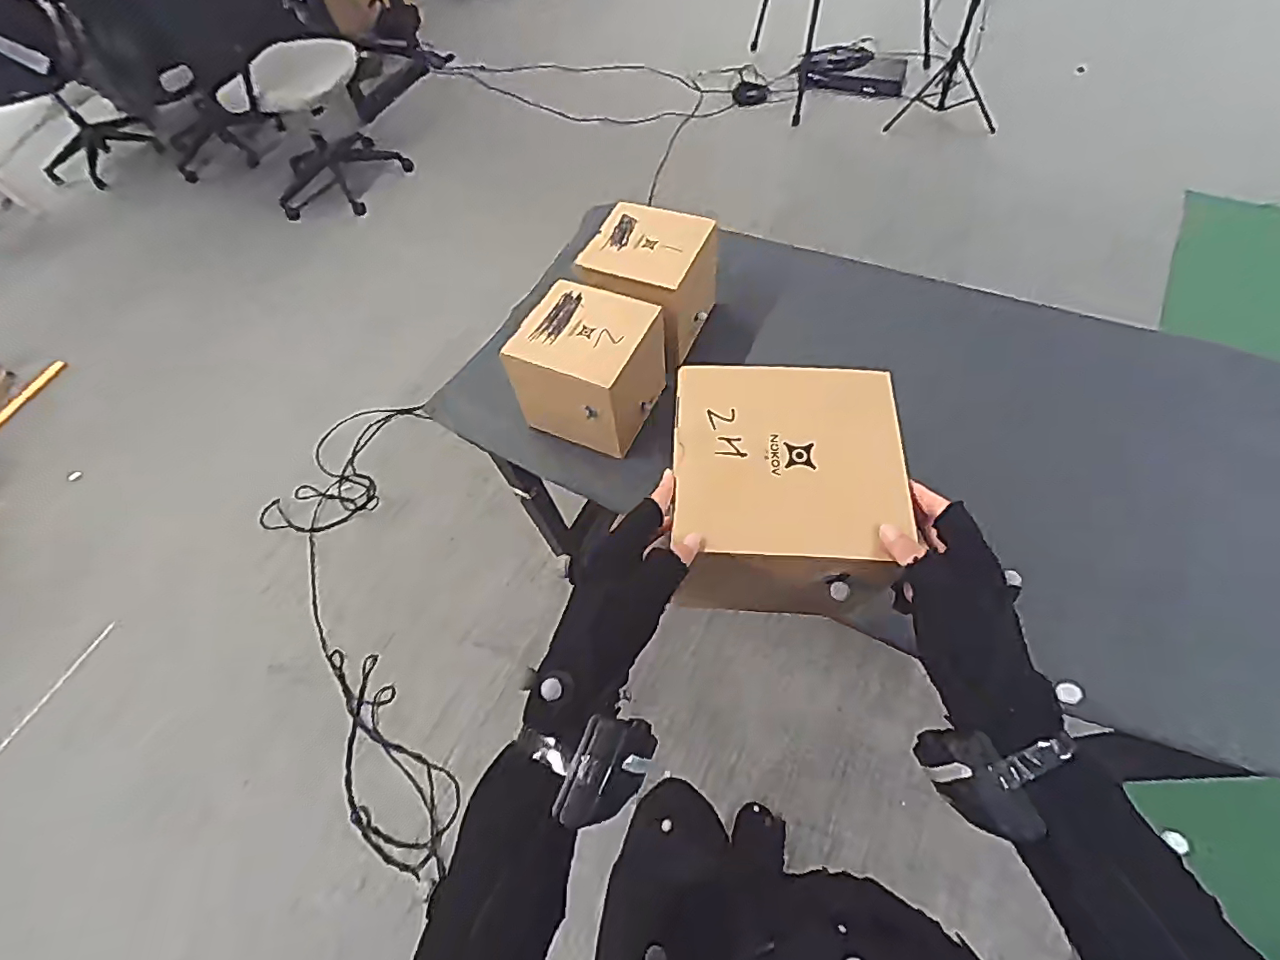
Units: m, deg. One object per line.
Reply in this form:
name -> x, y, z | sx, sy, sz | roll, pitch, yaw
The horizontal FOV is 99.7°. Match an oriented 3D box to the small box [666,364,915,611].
small box -> 0.116, 0.016, 0.487 | 0.179, 0.176, 0.168 | 3, 63, 5

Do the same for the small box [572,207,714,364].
small box -> 0.013, -0.321, 0.907 | 0.179, 0.176, 0.168 | 20, 65, 17
